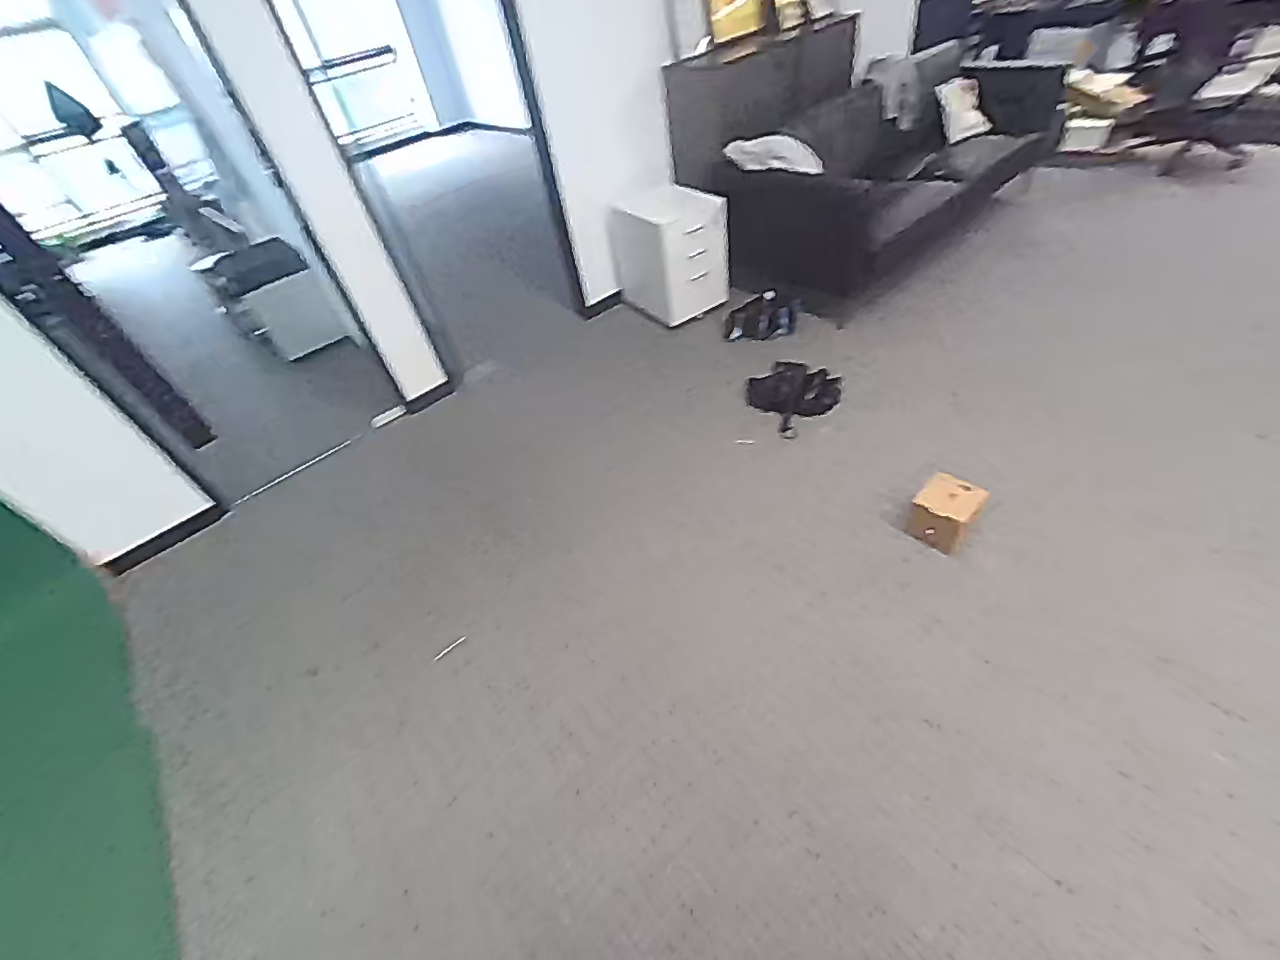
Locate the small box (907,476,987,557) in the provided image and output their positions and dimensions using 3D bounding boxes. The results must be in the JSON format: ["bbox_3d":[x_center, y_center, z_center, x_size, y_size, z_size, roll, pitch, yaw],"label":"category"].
[{"bbox_3d":[1.015,0.125,1.802,0.179,0.176,0.168,-37,49,-24],"label":"small box"}]
